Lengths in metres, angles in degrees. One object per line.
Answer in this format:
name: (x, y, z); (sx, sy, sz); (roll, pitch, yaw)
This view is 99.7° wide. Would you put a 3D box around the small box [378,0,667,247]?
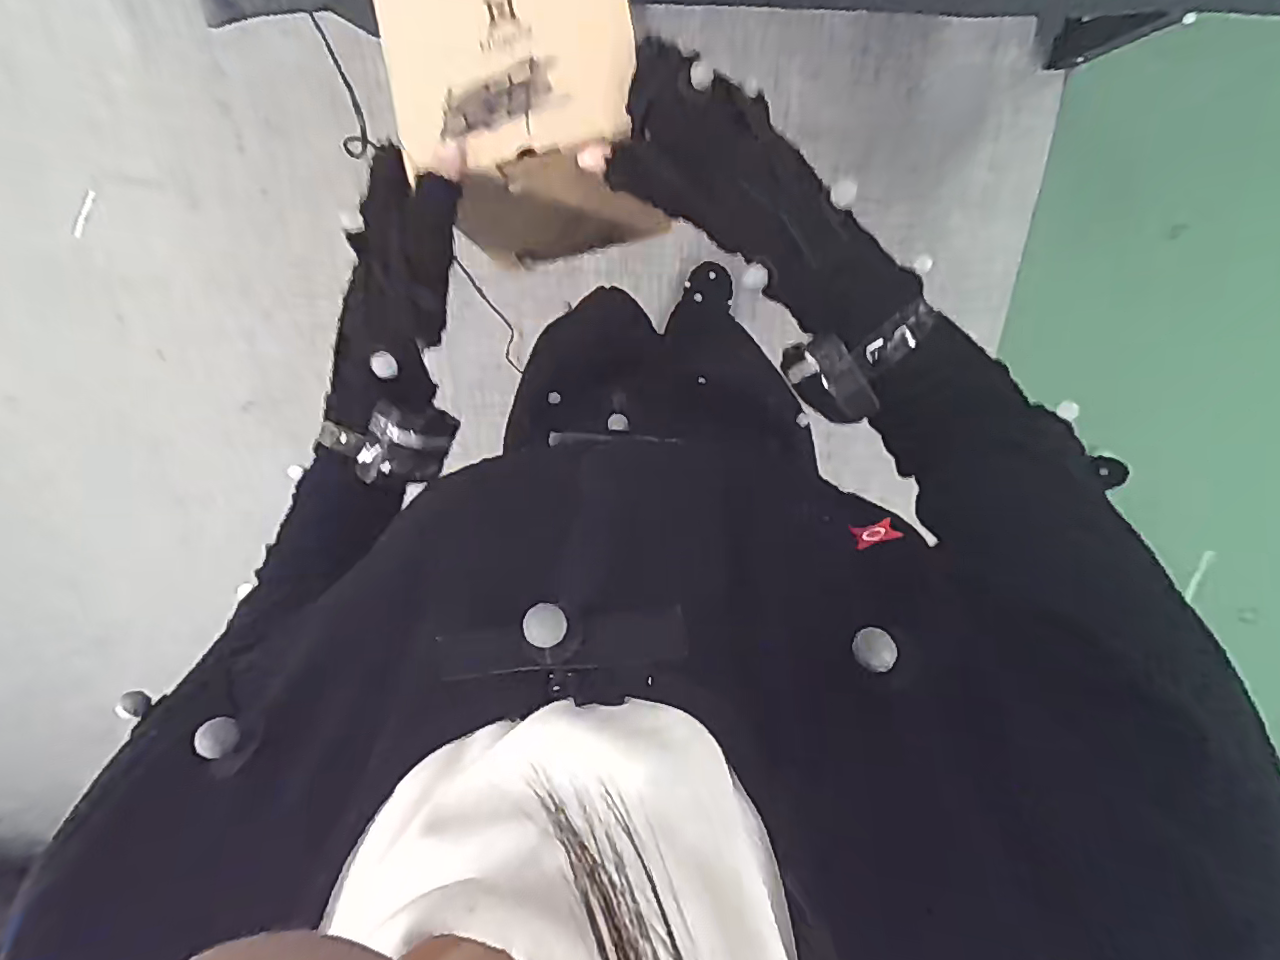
small box: (-0.076, -0.302, 0.423); (0.168, 0.176, 0.179); (-9, 91, 8)
